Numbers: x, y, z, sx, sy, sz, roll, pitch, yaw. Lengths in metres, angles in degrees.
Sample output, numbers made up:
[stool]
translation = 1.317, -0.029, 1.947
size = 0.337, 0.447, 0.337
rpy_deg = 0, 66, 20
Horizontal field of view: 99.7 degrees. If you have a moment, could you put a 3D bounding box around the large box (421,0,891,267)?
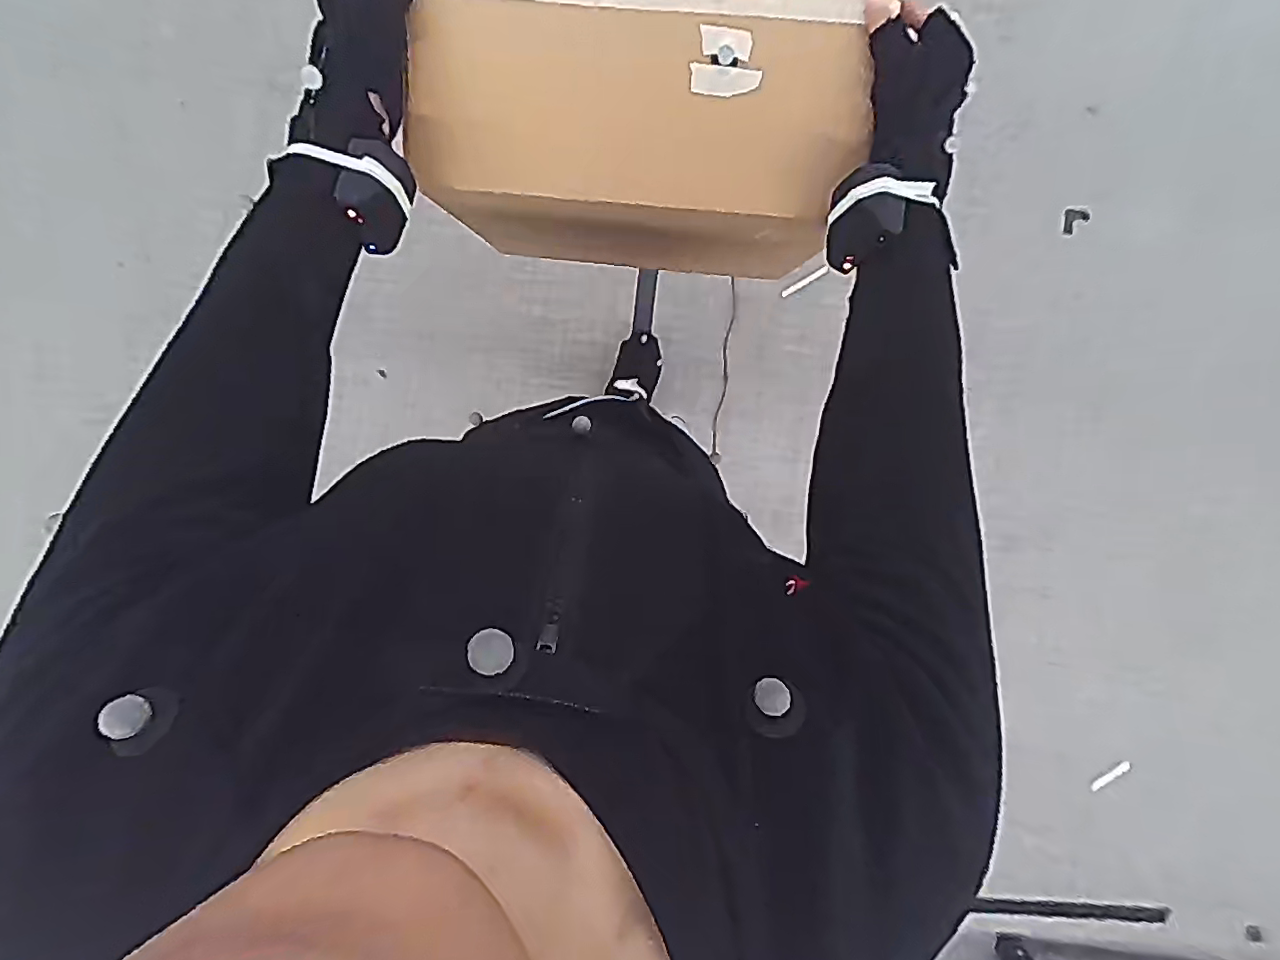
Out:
[large box]
translation = 0.013, -0.436, 0.600
size = 0.408, 0.320, 0.320
rpy_deg = 5, 102, -1
